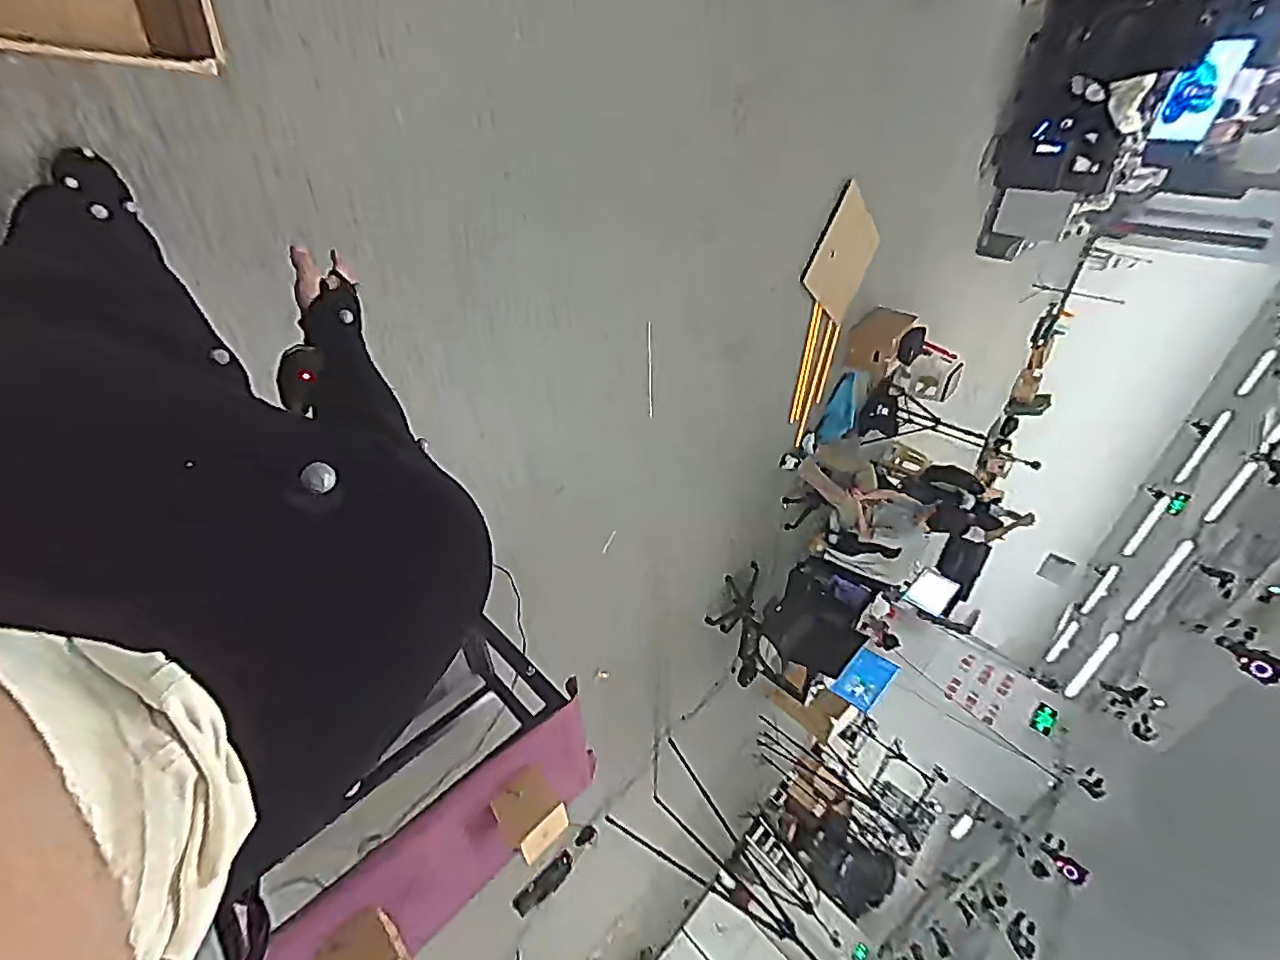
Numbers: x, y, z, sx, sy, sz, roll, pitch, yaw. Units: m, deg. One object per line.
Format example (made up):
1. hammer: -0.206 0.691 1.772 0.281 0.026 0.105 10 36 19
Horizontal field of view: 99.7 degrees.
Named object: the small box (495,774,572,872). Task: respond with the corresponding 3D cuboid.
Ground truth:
1. small box: -0.338 1.082 1.717 0.168 0.176 0.179 -32 135 -34
